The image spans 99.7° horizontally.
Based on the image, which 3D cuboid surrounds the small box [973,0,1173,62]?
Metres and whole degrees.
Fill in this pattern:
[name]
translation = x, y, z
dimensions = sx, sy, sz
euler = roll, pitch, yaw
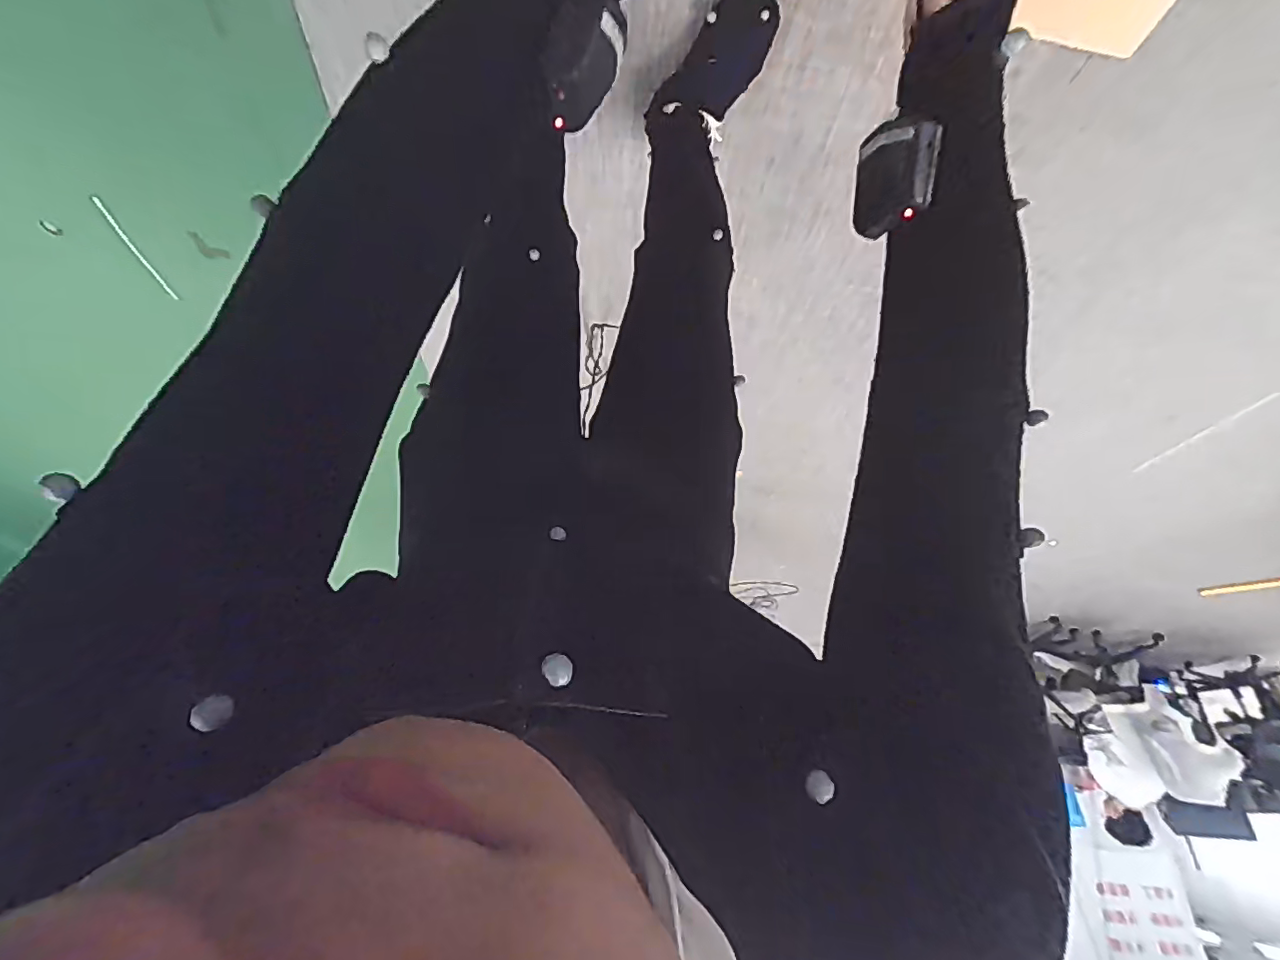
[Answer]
[small box]
translation = 0.497, -0.607, 0.591
dimensions = 0.179, 0.176, 0.168
euler = 8, 152, -4
